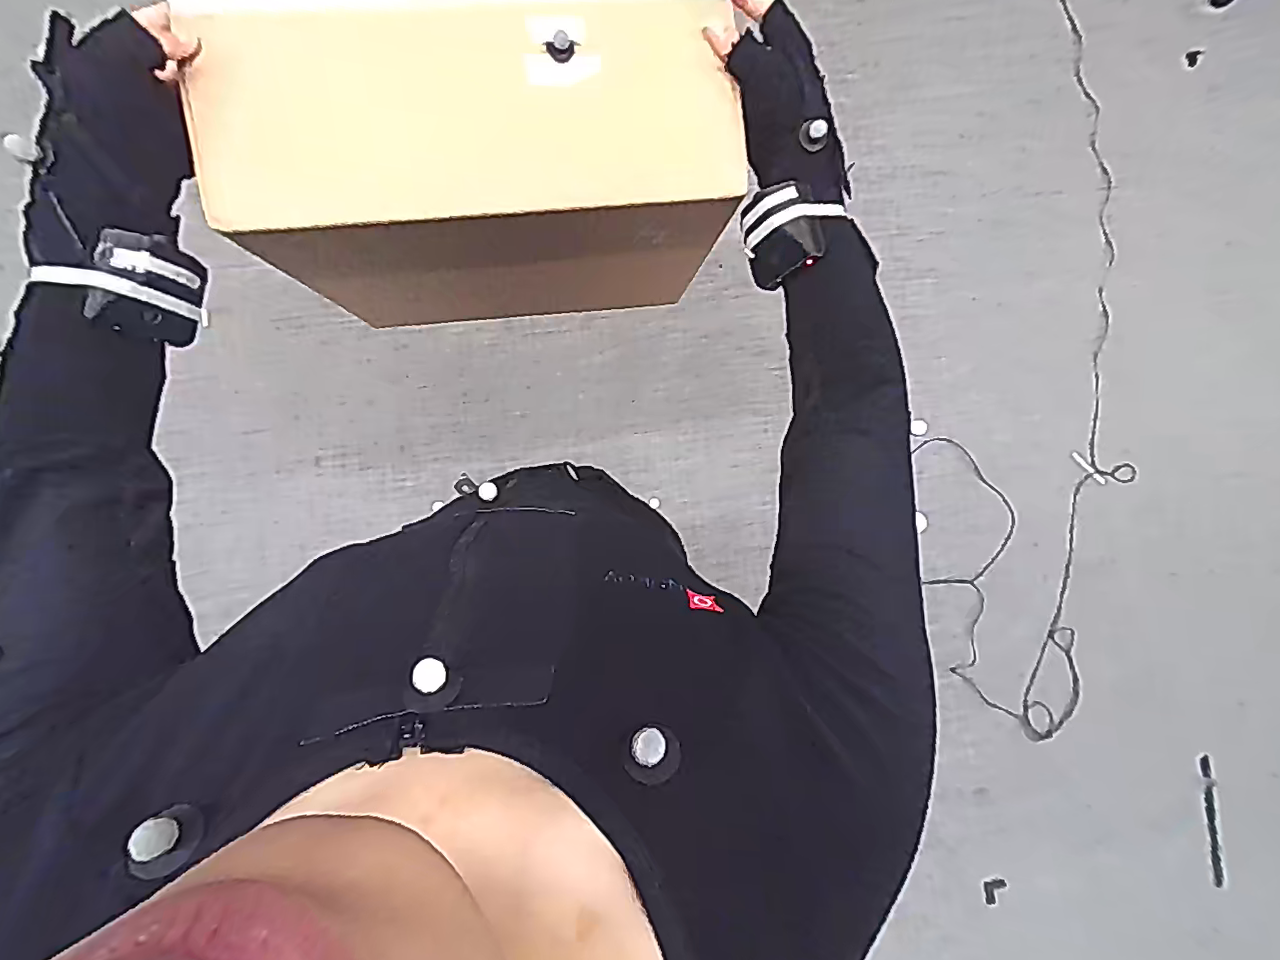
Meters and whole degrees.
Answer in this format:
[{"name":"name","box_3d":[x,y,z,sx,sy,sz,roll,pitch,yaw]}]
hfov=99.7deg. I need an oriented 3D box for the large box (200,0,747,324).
[{"name":"large box","box_3d":[-0.144,-0.371,0.562,0.408,0.320,0.320,-8,94,-6]}]
